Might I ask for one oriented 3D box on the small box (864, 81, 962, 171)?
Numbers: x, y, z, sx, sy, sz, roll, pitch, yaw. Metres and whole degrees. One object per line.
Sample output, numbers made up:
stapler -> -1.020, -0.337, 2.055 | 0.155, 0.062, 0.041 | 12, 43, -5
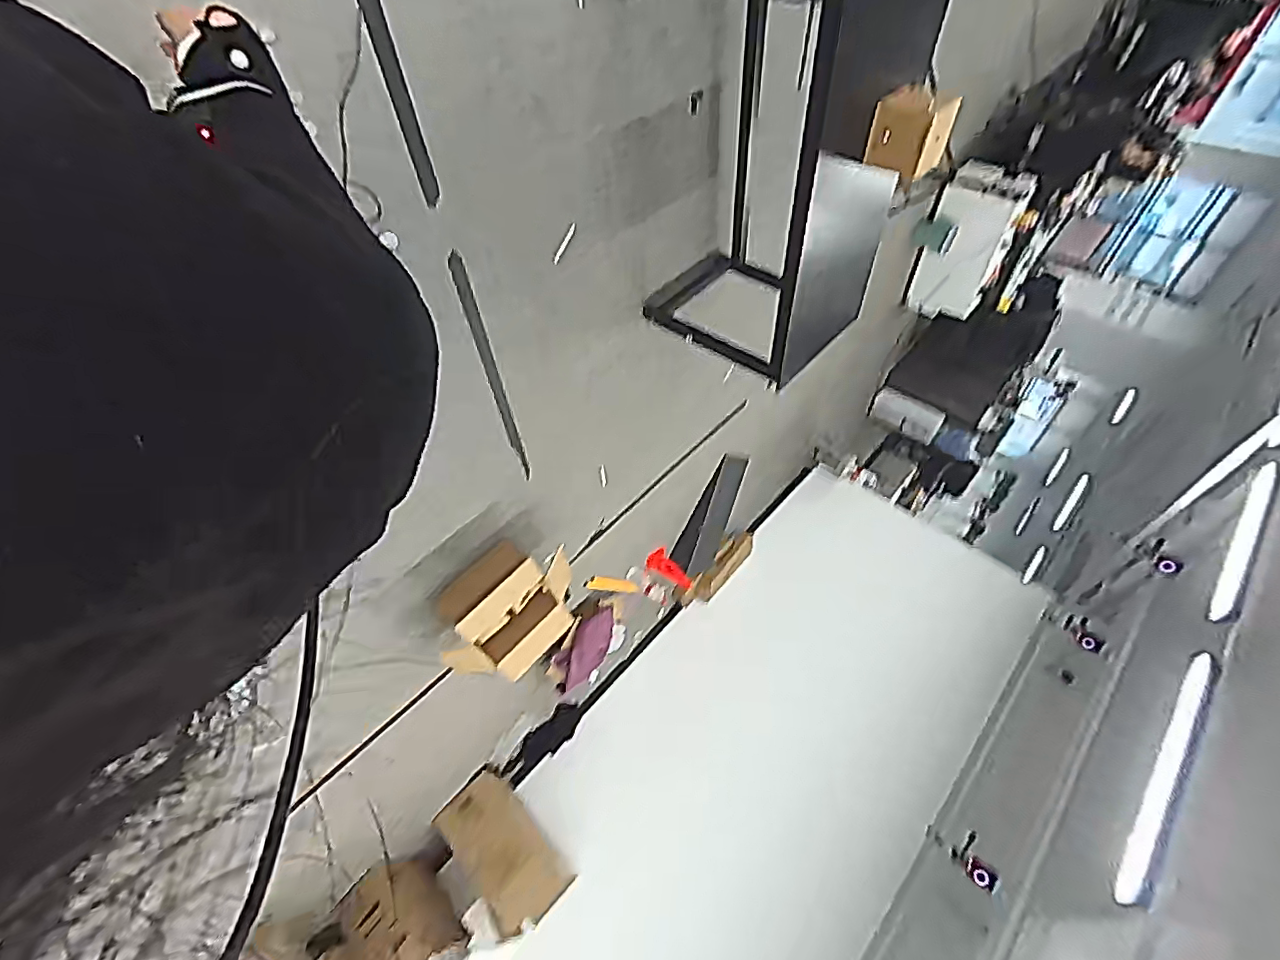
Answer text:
small box -> 0.786, -1.031, 1.568 | 0.179, 0.176, 0.168 | -41, 149, -25
